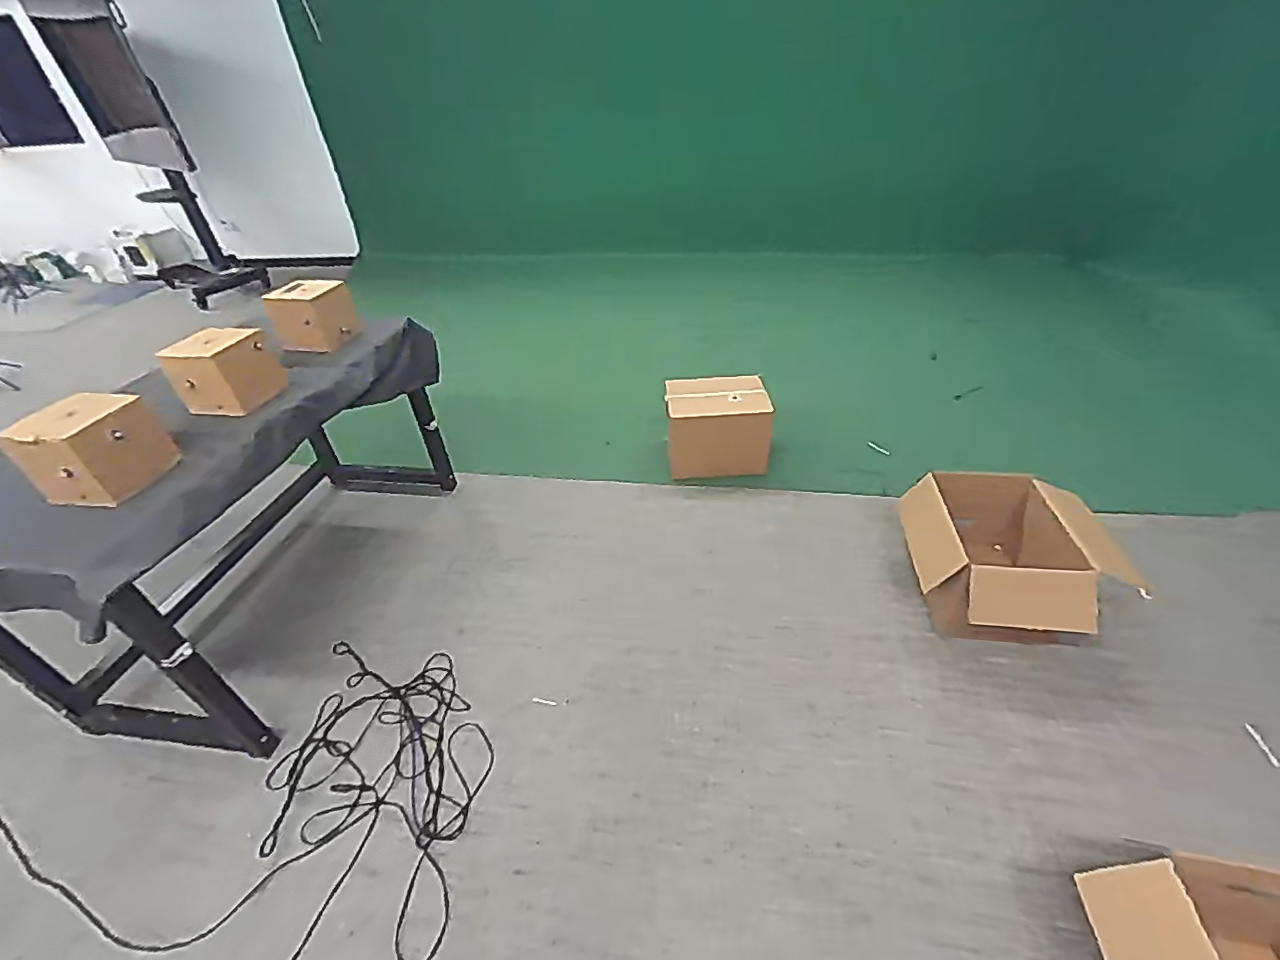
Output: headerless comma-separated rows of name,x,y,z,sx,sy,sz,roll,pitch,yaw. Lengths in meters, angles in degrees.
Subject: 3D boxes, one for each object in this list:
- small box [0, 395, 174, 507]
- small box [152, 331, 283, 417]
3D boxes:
small box,-1.135,-0.061,1.118,0.168,0.176,0.179,3,36,7
small box,-1.078,-0.274,1.400,0.168,0.176,0.179,3,37,9
